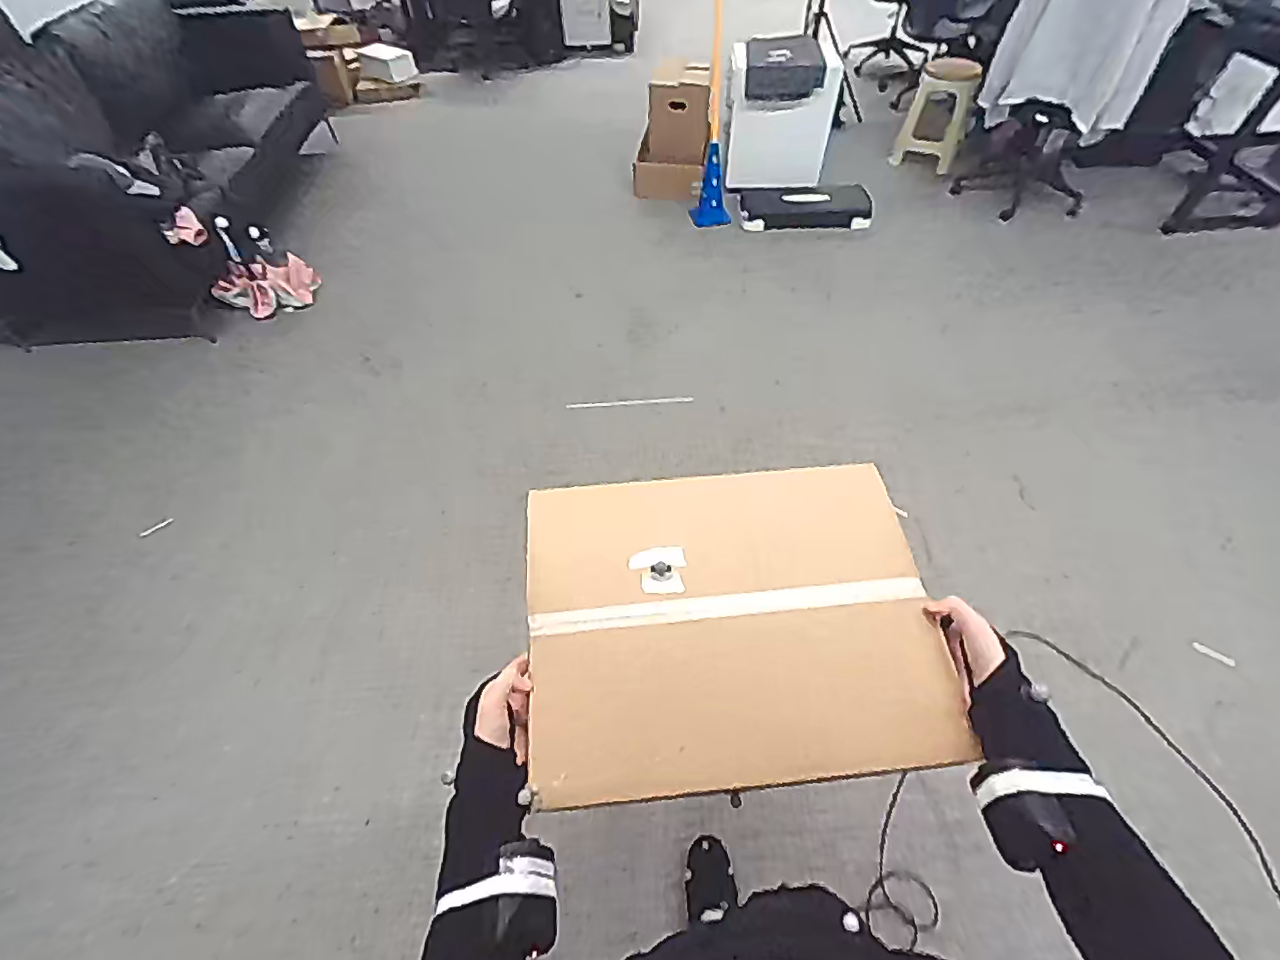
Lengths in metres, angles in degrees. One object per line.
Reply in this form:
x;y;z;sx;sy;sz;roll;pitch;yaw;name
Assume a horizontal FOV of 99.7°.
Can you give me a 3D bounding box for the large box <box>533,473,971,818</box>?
0.094;0.219;0.686;0.408;0.320;0.320;-6;58;-3;large box
